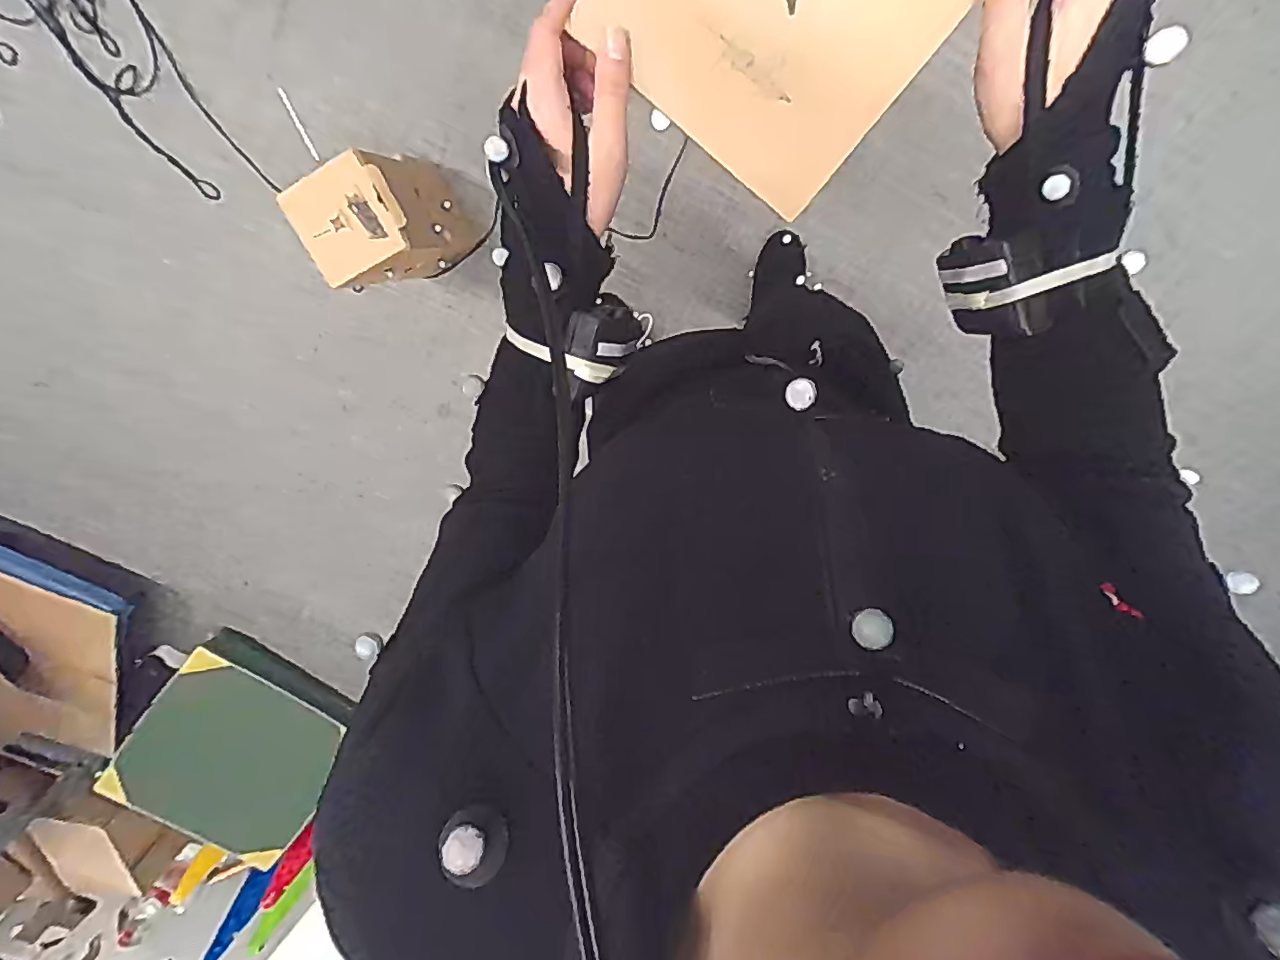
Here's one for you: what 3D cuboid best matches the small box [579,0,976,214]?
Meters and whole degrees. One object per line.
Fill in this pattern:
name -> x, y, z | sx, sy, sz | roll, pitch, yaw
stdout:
small box -> 0.084, -0.304, 0.325 | 0.168, 0.176, 0.179 | 30, 124, -17

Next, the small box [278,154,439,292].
small box -> -0.497, -0.465, 0.993 | 0.179, 0.176, 0.168 | -20, 110, 14

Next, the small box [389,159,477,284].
small box -> -0.475, -0.539, 1.139 | 0.168, 0.176, 0.179 | -26, 109, 16
